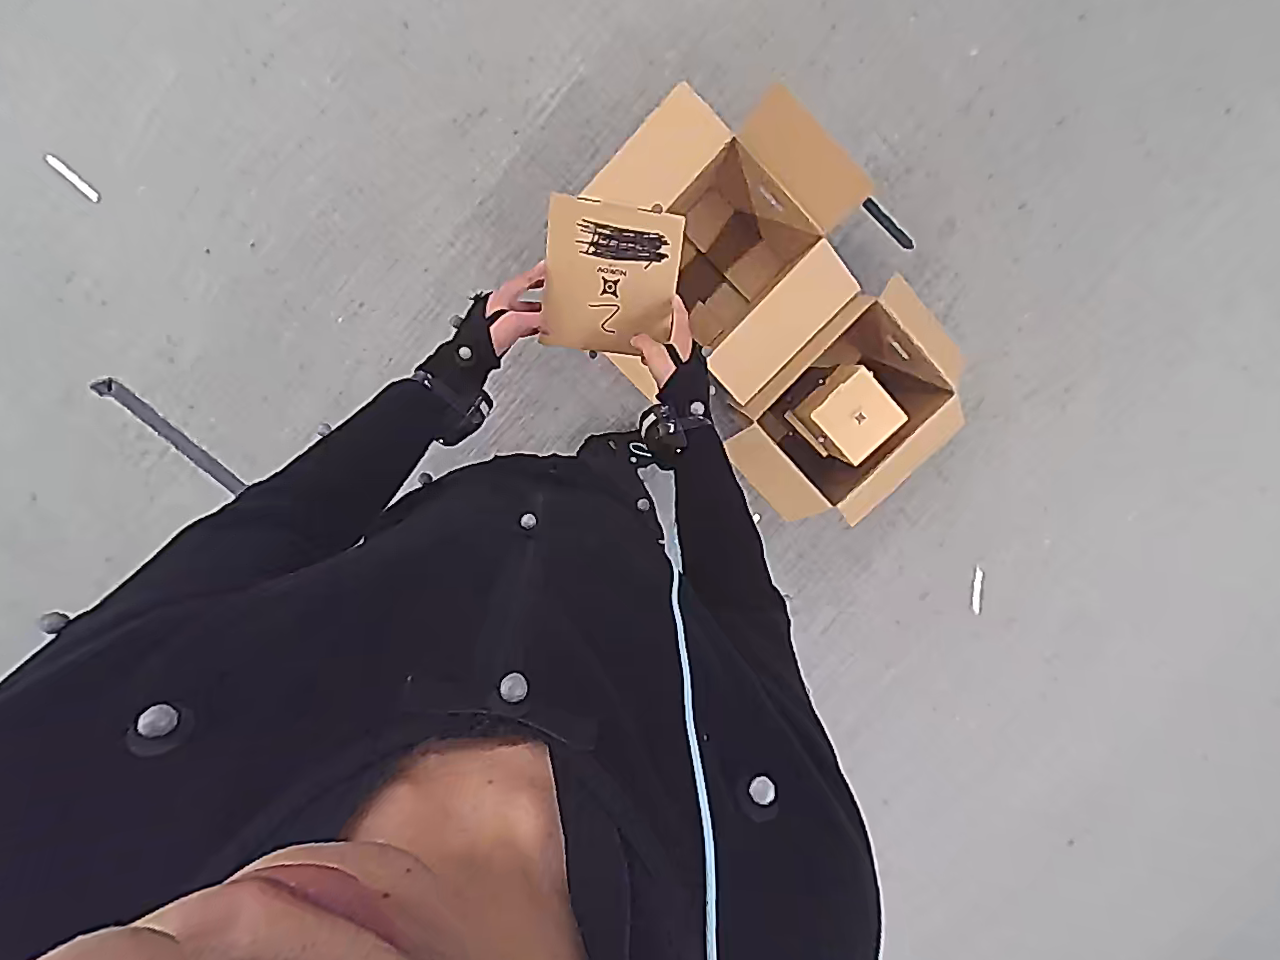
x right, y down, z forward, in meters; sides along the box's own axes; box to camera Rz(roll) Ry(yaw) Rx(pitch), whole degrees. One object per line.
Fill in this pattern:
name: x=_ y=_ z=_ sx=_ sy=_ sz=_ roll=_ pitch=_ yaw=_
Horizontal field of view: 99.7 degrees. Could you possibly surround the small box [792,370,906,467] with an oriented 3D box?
small box: x=0.512 y=-0.162 z=1.346 sx=0.168 sy=0.176 sz=0.179 roll=-44 pitch=99 yaw=8
